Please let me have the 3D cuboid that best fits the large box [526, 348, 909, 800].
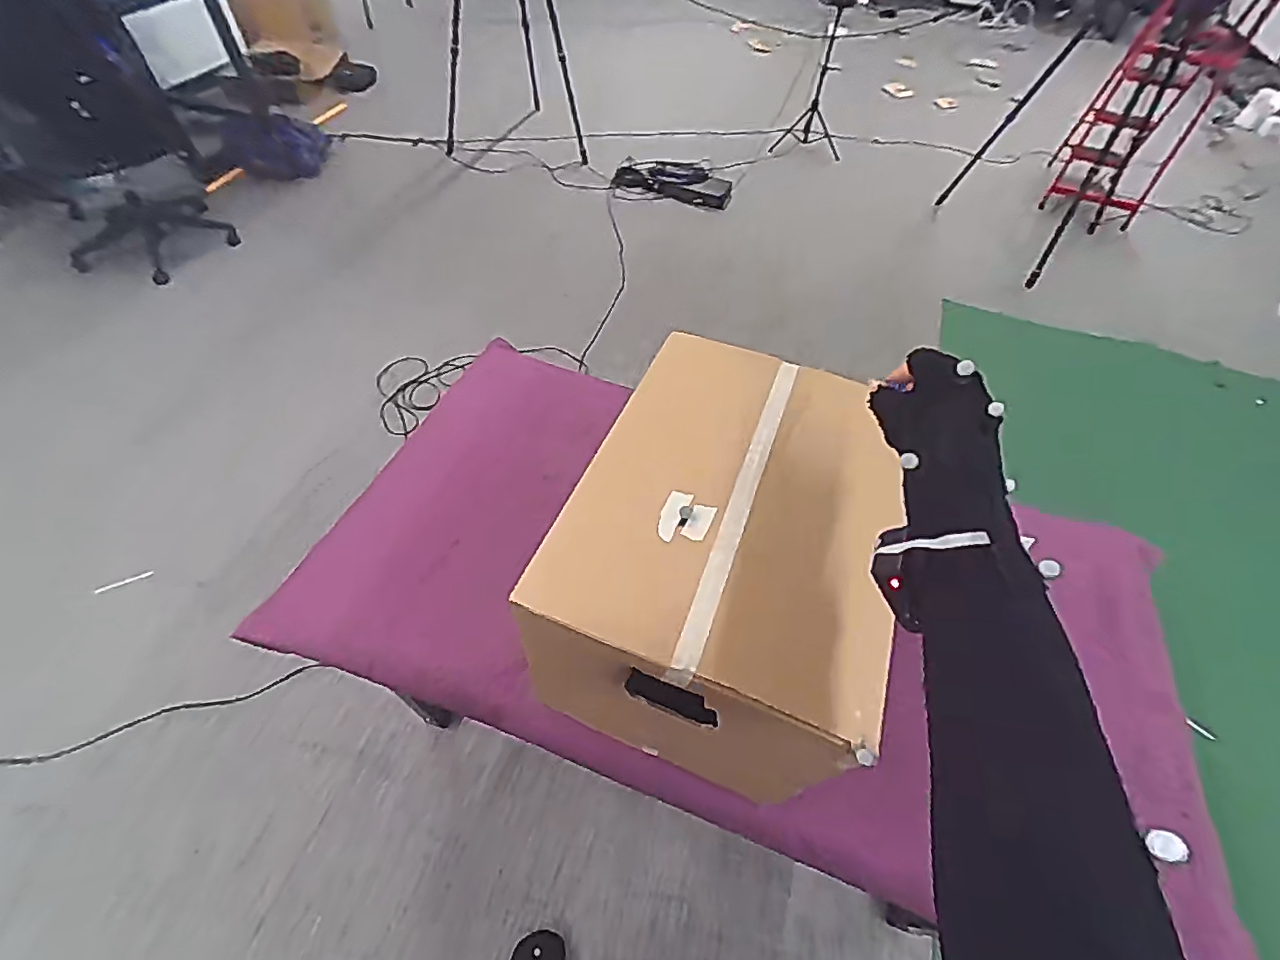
[{"bbox_3d":[0.100,0.111,0.680,0.320,0.320,0.408,20,54,11],"label":"large box"}]
